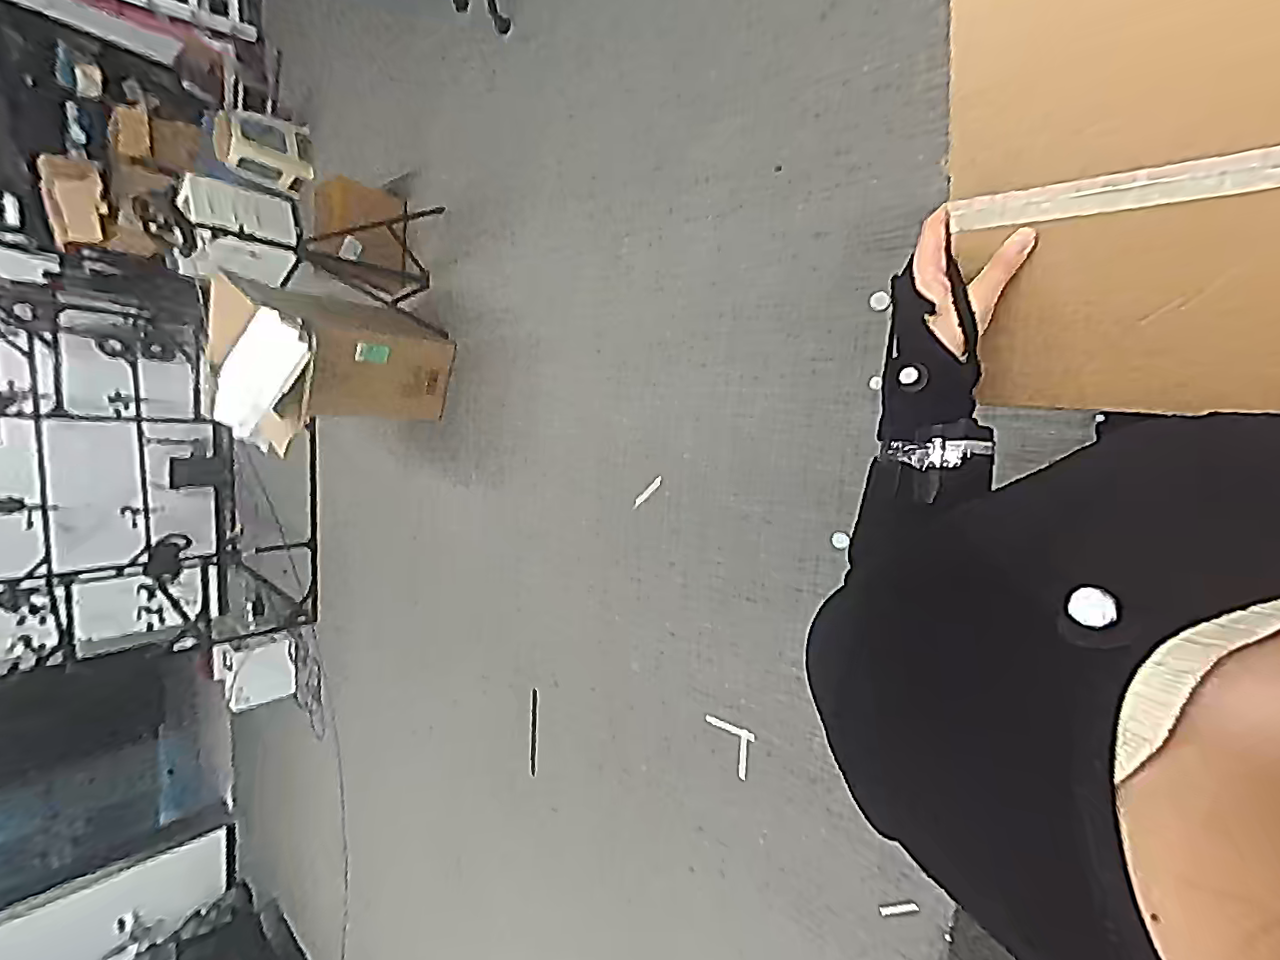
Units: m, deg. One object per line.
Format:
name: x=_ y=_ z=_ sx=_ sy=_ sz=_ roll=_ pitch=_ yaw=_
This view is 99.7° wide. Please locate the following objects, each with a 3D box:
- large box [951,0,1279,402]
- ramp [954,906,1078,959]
large box: x=0.465 y=-0.258 z=0.349 sx=0.408 sy=0.320 sz=0.320 roll=9 pitch=133 yaw=41
ramp: x=0.874 y=1.522 z=1.122 sx=0.509 sy=0.206 sz=0.991 roll=6 pitch=96 yaw=41
